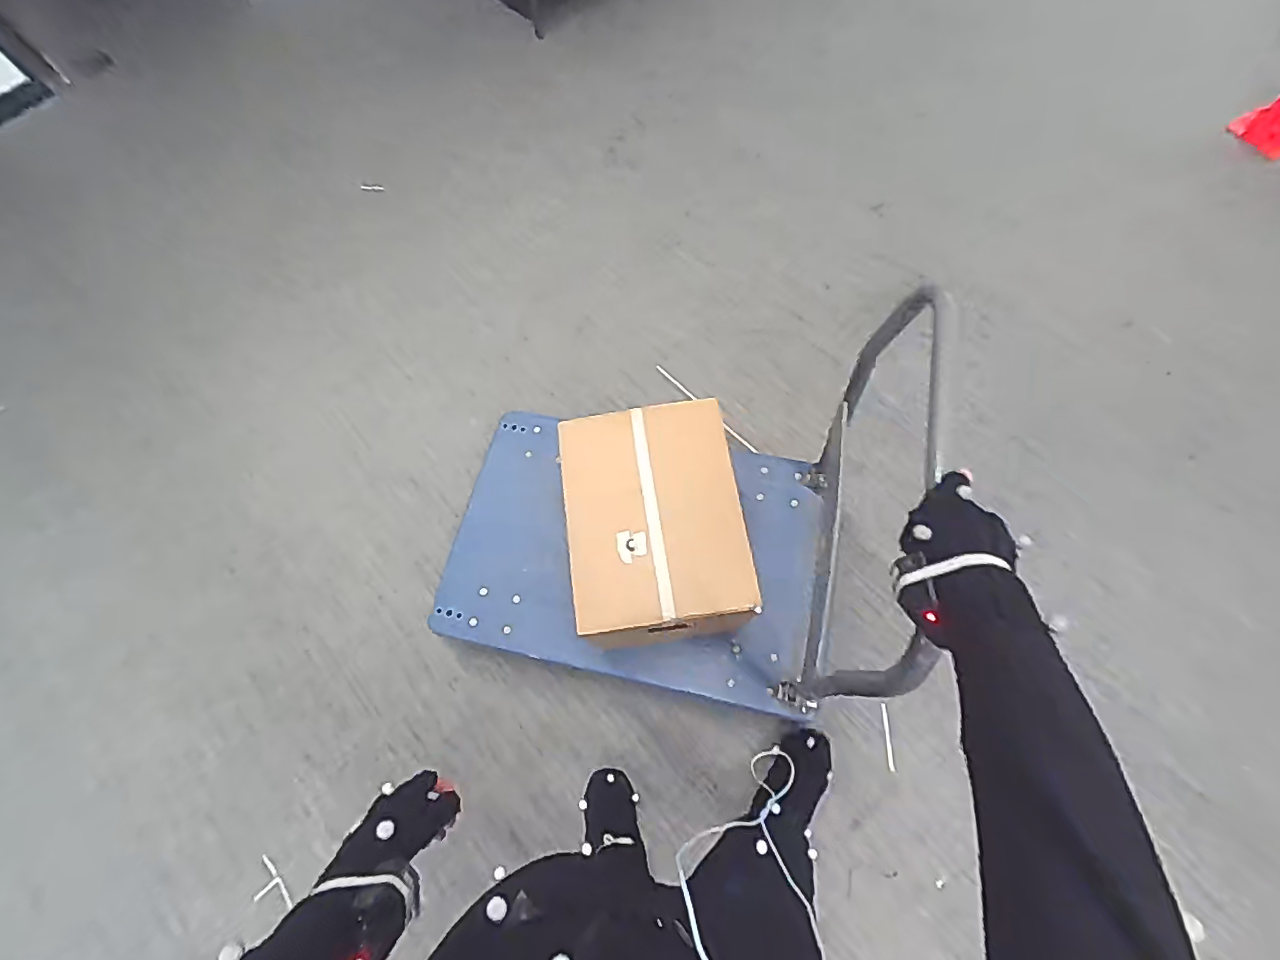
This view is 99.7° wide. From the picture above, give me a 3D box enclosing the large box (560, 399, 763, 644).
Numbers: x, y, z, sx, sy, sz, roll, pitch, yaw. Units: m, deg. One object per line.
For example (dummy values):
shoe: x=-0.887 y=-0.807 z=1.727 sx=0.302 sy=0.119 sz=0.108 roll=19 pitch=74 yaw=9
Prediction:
large box: x=0.033 y=0.099 z=1.109 sx=0.320 sy=0.320 sz=0.408 roll=-9 pitch=69 yaw=0
